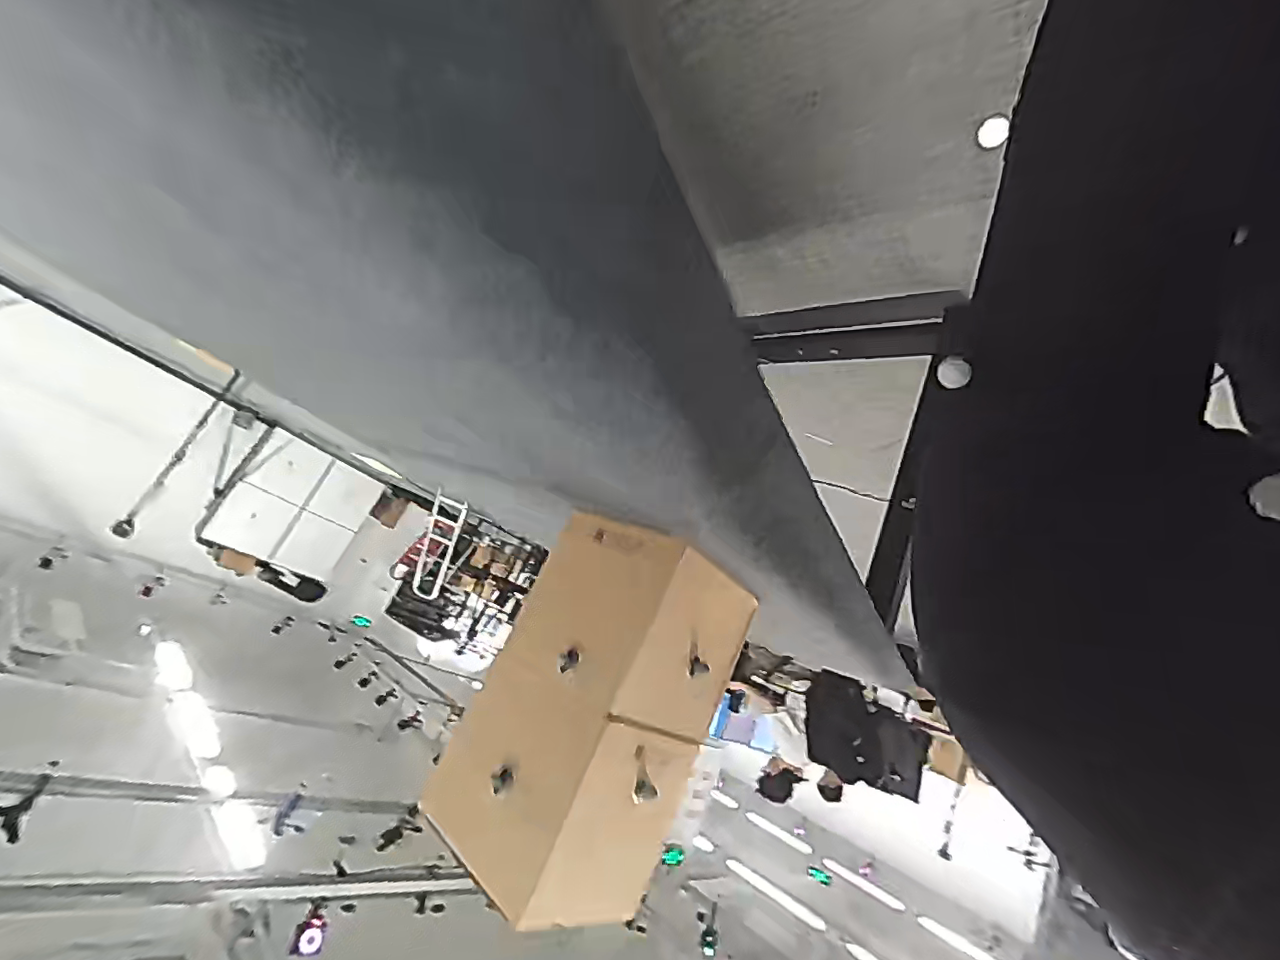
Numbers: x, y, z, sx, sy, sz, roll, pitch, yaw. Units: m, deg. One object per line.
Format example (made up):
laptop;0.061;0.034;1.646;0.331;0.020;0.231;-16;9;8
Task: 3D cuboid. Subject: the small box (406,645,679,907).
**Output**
small box;-0.091;0.284;0.548;0.179;0.176;0.168;11;158;42

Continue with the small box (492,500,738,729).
small box;-0.018;0.142;0.591;0.168;0.176;0.179;11;158;42
